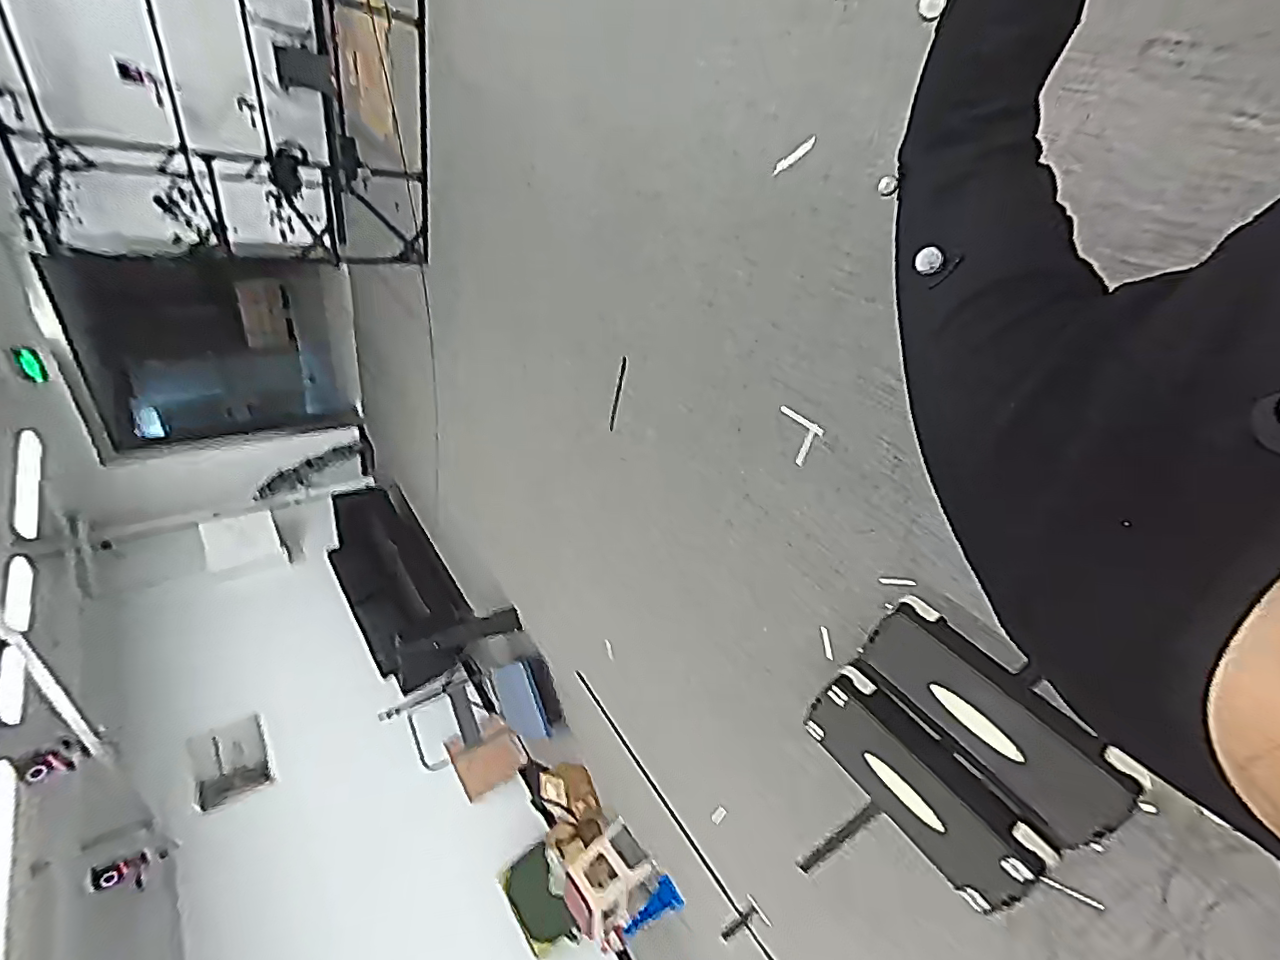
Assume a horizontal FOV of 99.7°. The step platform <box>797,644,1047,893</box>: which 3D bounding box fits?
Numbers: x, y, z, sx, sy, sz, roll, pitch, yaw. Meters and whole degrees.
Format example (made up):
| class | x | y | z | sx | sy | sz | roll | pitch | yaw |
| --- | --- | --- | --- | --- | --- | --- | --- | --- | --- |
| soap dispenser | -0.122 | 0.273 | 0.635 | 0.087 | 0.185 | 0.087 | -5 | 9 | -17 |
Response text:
| class | x | y | z | sx | sy | sz | roll | pitch | yaw |
| --- | --- | --- | --- | --- | --- | --- | --- | --- | --- |
| step platform | 0.813 | 0.854 | 1.657 | 0.684 | 0.204 | 0.286 | 44 | 134 | 36 |
